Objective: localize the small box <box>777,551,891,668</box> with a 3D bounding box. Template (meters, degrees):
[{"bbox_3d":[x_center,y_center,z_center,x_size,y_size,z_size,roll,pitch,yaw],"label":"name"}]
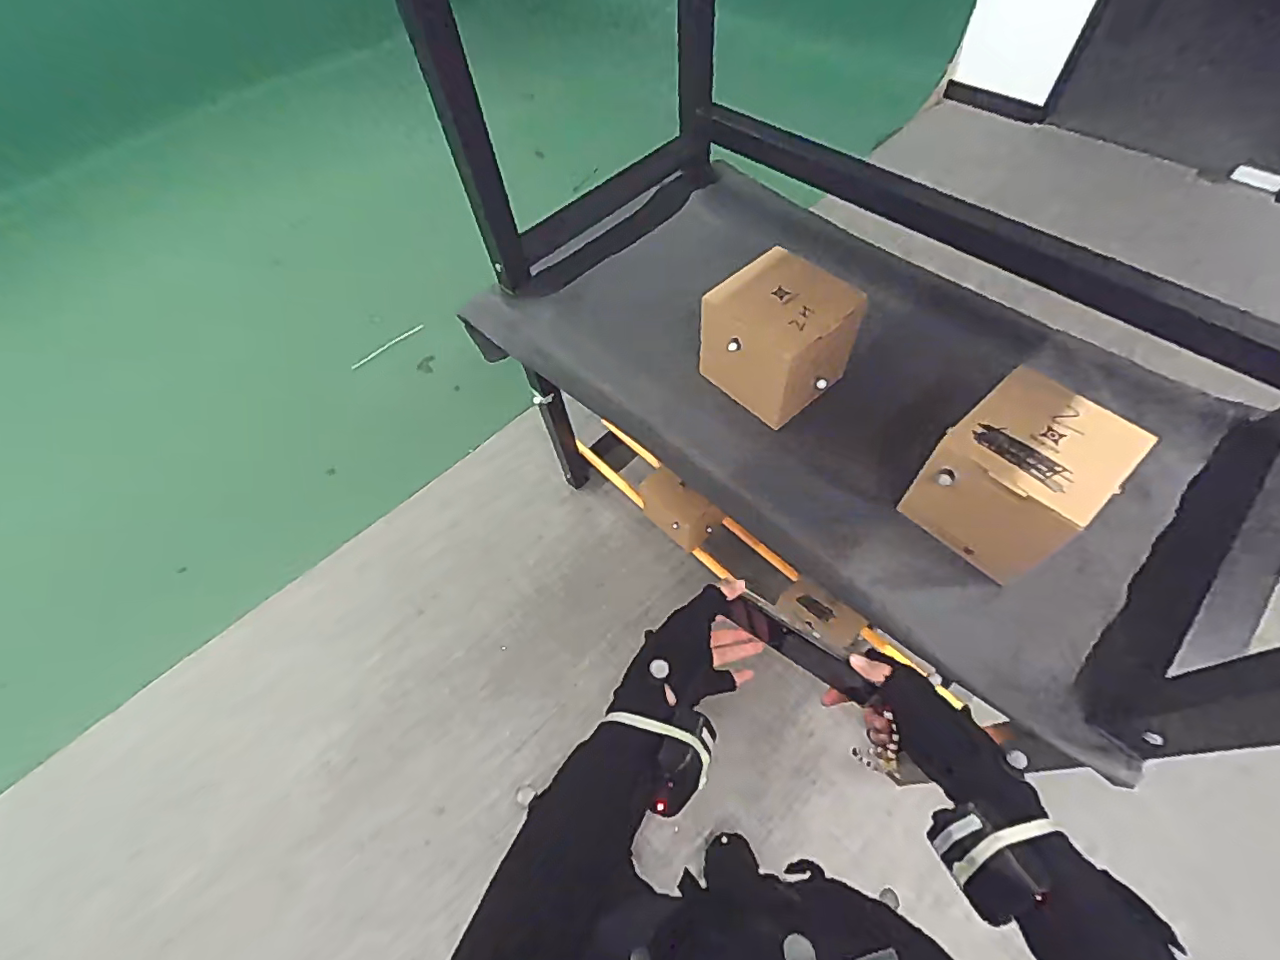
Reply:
[{"bbox_3d":[0.430,0.301,1.234,0.179,0.176,0.168,-38,63,-16],"label":"small box"}]

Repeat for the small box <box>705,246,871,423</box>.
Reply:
[{"bbox_3d":[0.216,-0.221,0.841,0.168,0.176,0.179,-38,62,-17],"label":"small box"}]
